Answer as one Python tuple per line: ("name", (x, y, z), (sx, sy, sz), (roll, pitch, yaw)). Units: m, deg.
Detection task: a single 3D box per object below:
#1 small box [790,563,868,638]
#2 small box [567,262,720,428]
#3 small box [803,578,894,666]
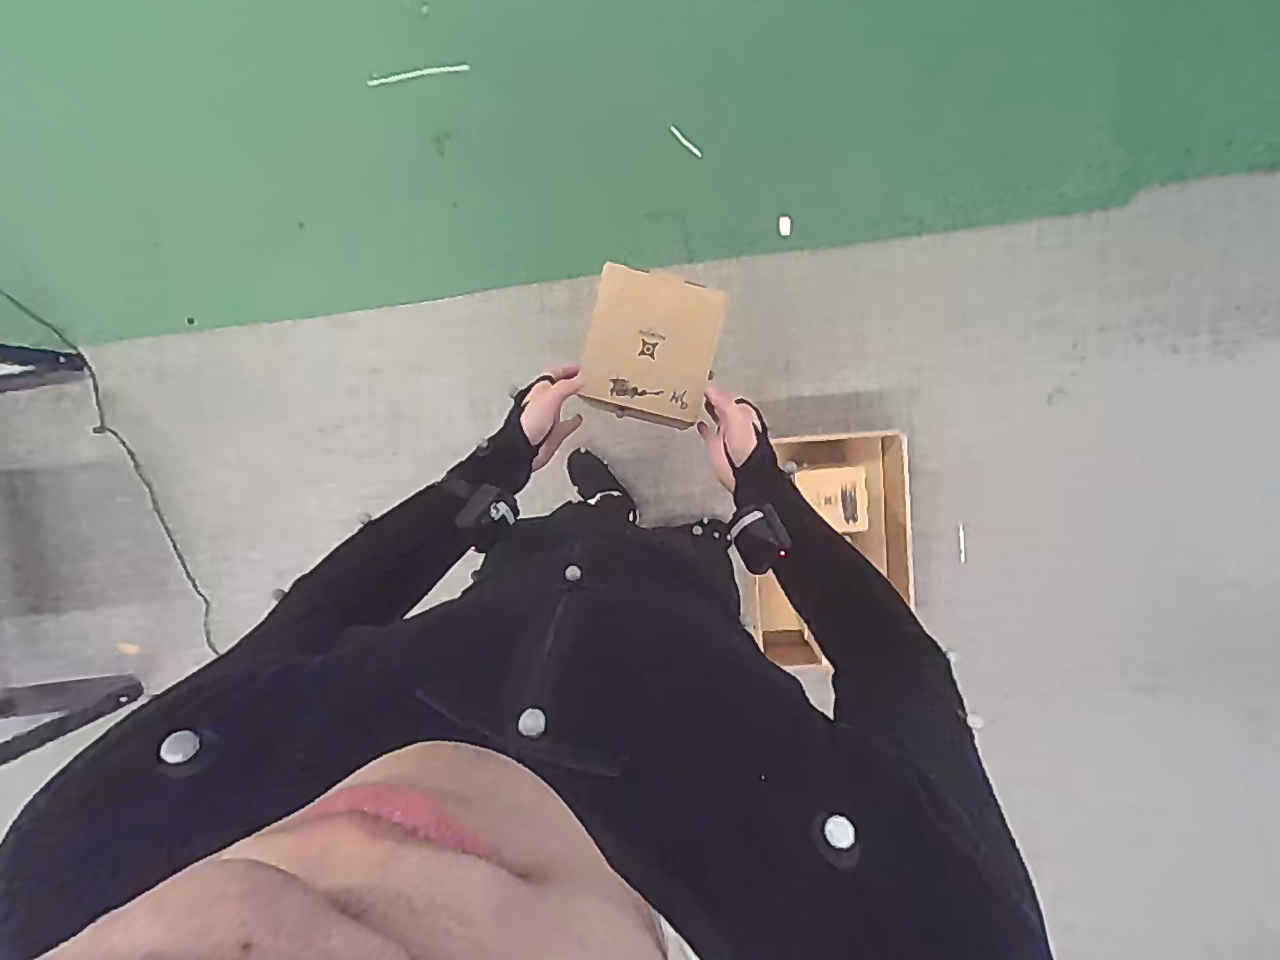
("small box", (0.508, 0.324, 1.473), (0.179, 0.176, 0.168), (-3, 93, 5))
("small box", (0.005, -0.179, 0.772), (0.168, 0.176, 0.179), (14, 93, 1))
("small box", (0.495, 0.337, 1.308), (0.179, 0.176, 0.168), (-2, 93, 5))
